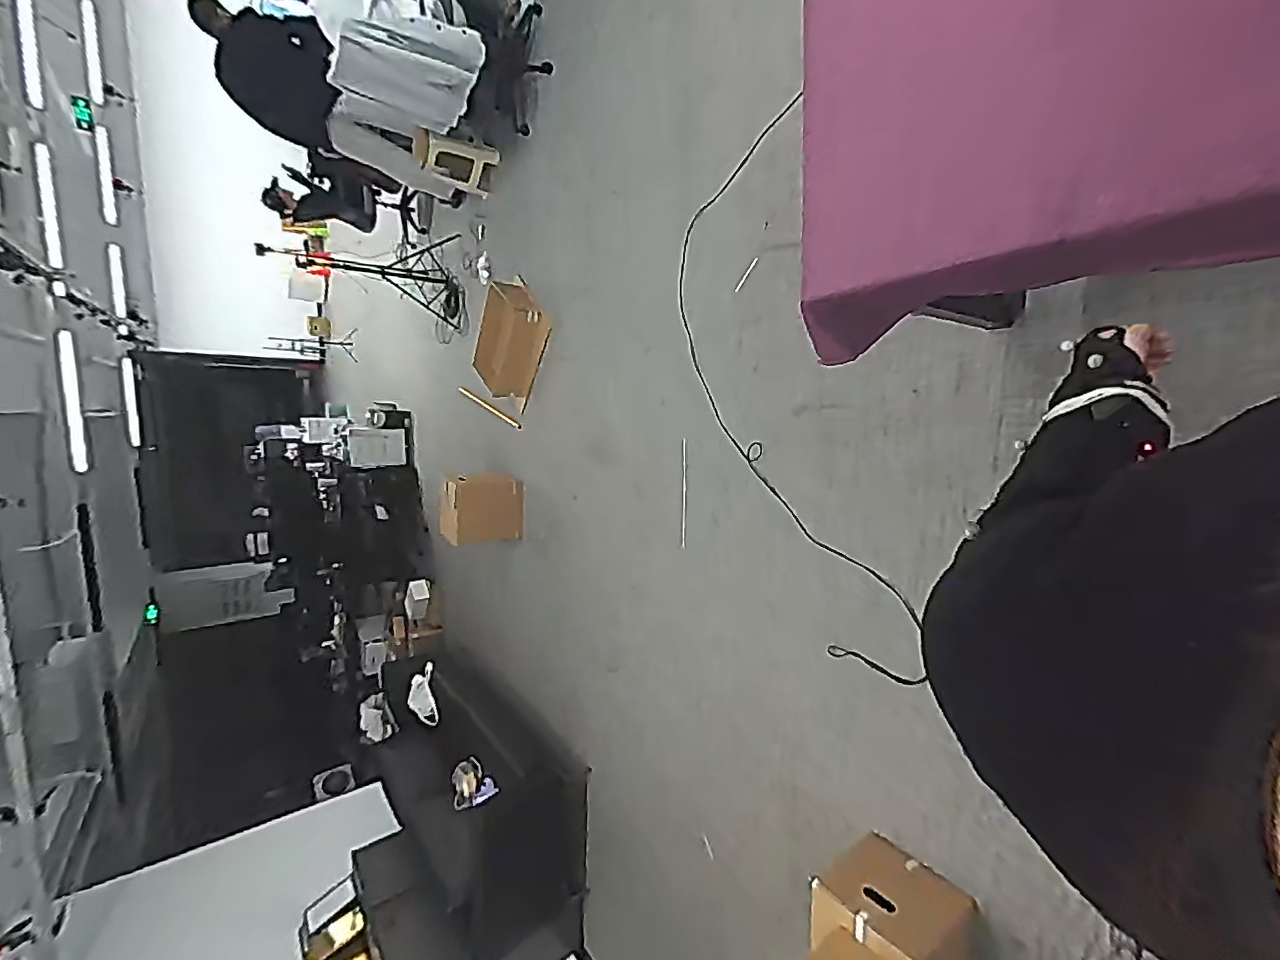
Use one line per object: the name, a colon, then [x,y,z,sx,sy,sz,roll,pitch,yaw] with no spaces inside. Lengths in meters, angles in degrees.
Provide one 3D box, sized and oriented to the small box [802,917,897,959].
small box: [0.541,1.292,1.401,0.179,0.176,0.168,6,100,51]
